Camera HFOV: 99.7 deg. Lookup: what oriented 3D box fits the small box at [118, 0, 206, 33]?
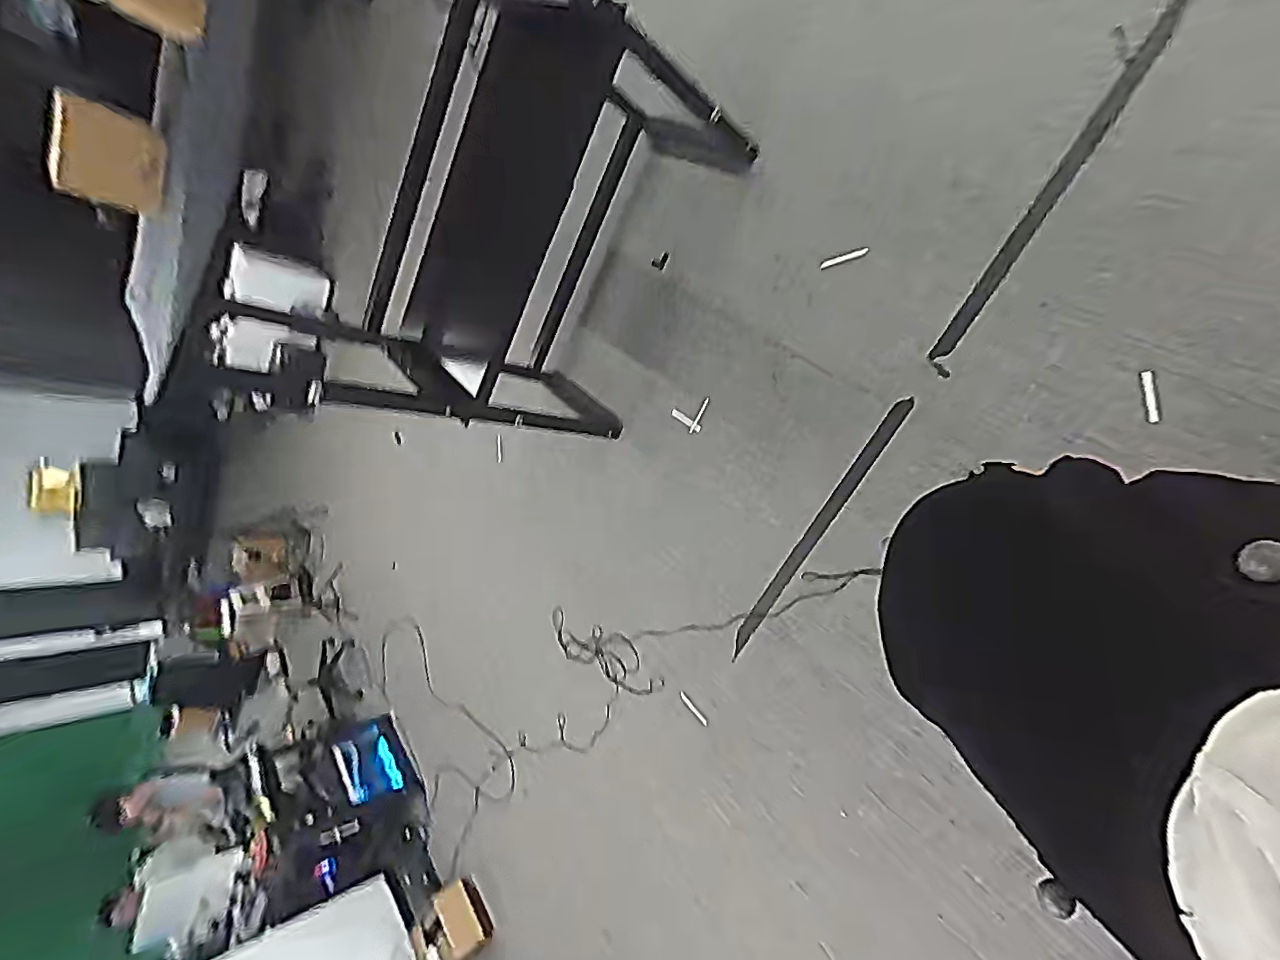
[{"bbox_3d":[-0.878,-0.929,0.951,0.179,0.176,0.168,32,109,36],"label":"small box"}]
